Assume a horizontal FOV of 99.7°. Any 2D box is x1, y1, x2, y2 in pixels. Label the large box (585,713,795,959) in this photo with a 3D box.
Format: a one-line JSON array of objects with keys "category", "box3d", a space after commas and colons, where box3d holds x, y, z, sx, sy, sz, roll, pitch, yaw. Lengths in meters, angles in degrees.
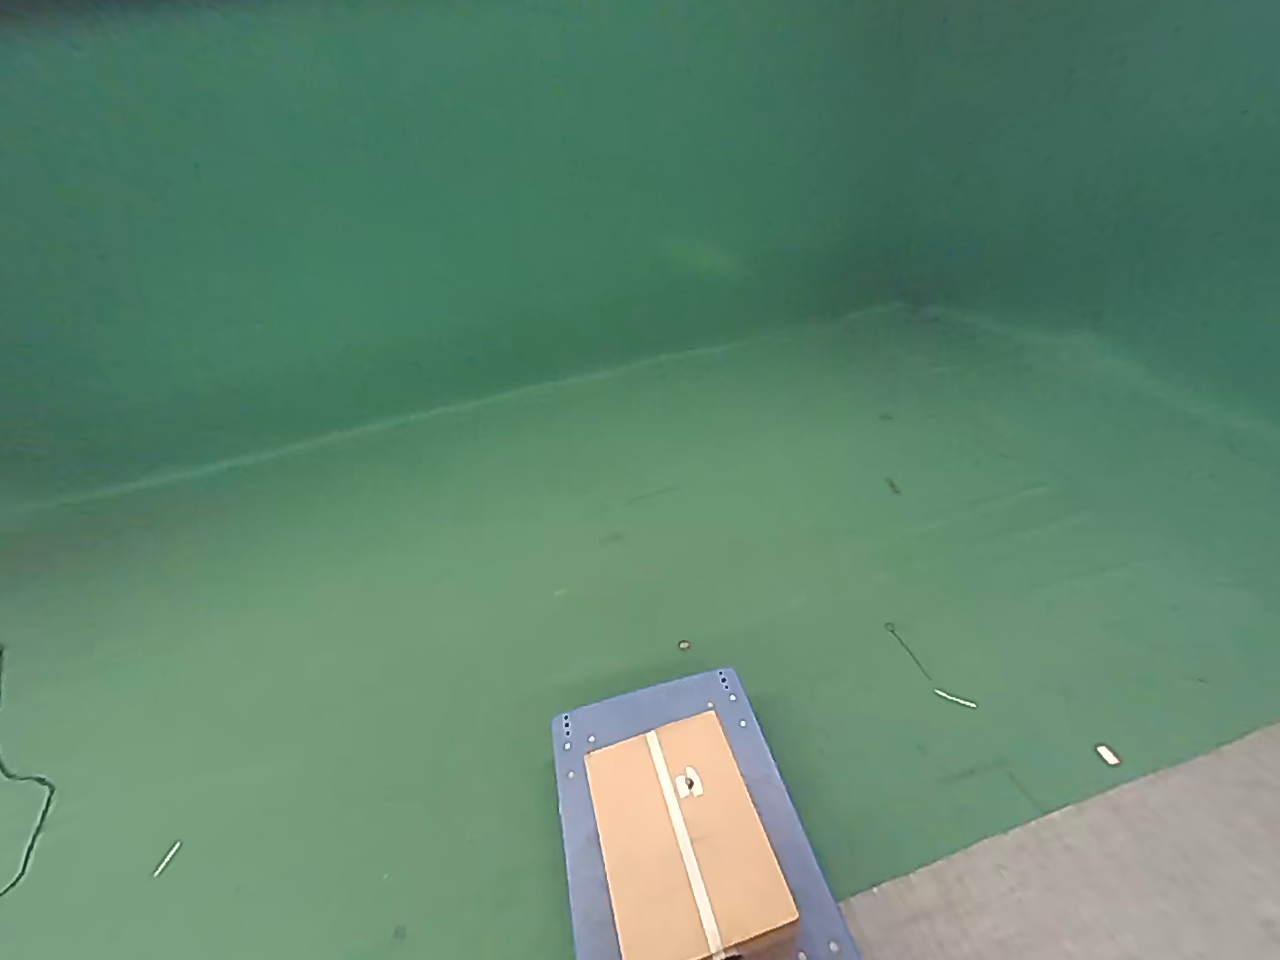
[{"category": "large box", "box3d": [0.097, 0.806, 1.165, 0.320, 0.320, 0.408, -15, 38, -8]}]
